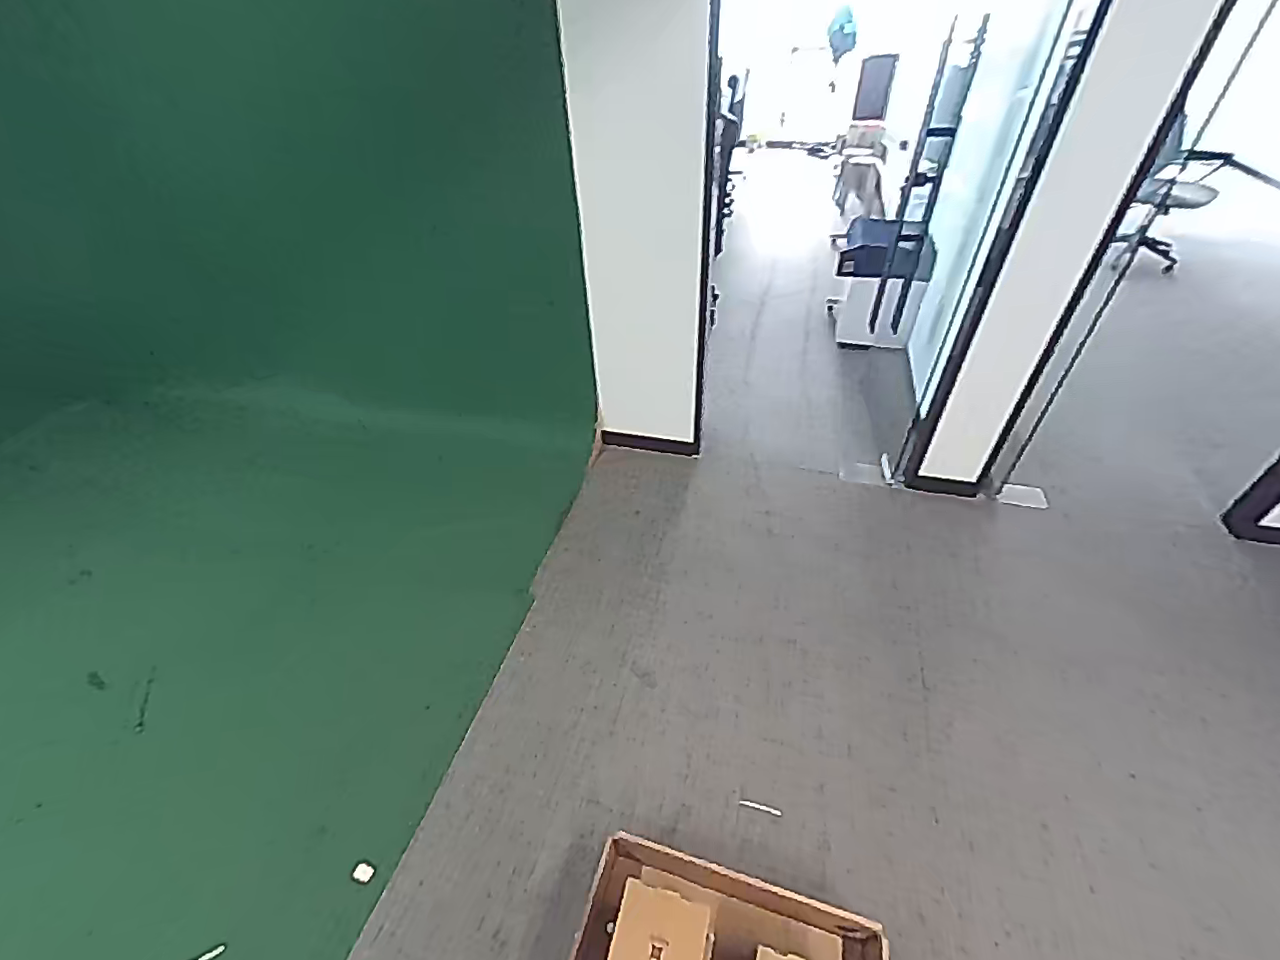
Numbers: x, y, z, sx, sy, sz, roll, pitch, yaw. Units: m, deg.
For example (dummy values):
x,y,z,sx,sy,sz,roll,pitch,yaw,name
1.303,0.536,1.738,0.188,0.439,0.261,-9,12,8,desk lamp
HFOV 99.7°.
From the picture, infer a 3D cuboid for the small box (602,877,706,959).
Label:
x,y,z,sx,sy,sz,roll,pitch,yaw,name
0.024,0.892,1.012,0.168,0.176,0.179,10,43,13,small box
